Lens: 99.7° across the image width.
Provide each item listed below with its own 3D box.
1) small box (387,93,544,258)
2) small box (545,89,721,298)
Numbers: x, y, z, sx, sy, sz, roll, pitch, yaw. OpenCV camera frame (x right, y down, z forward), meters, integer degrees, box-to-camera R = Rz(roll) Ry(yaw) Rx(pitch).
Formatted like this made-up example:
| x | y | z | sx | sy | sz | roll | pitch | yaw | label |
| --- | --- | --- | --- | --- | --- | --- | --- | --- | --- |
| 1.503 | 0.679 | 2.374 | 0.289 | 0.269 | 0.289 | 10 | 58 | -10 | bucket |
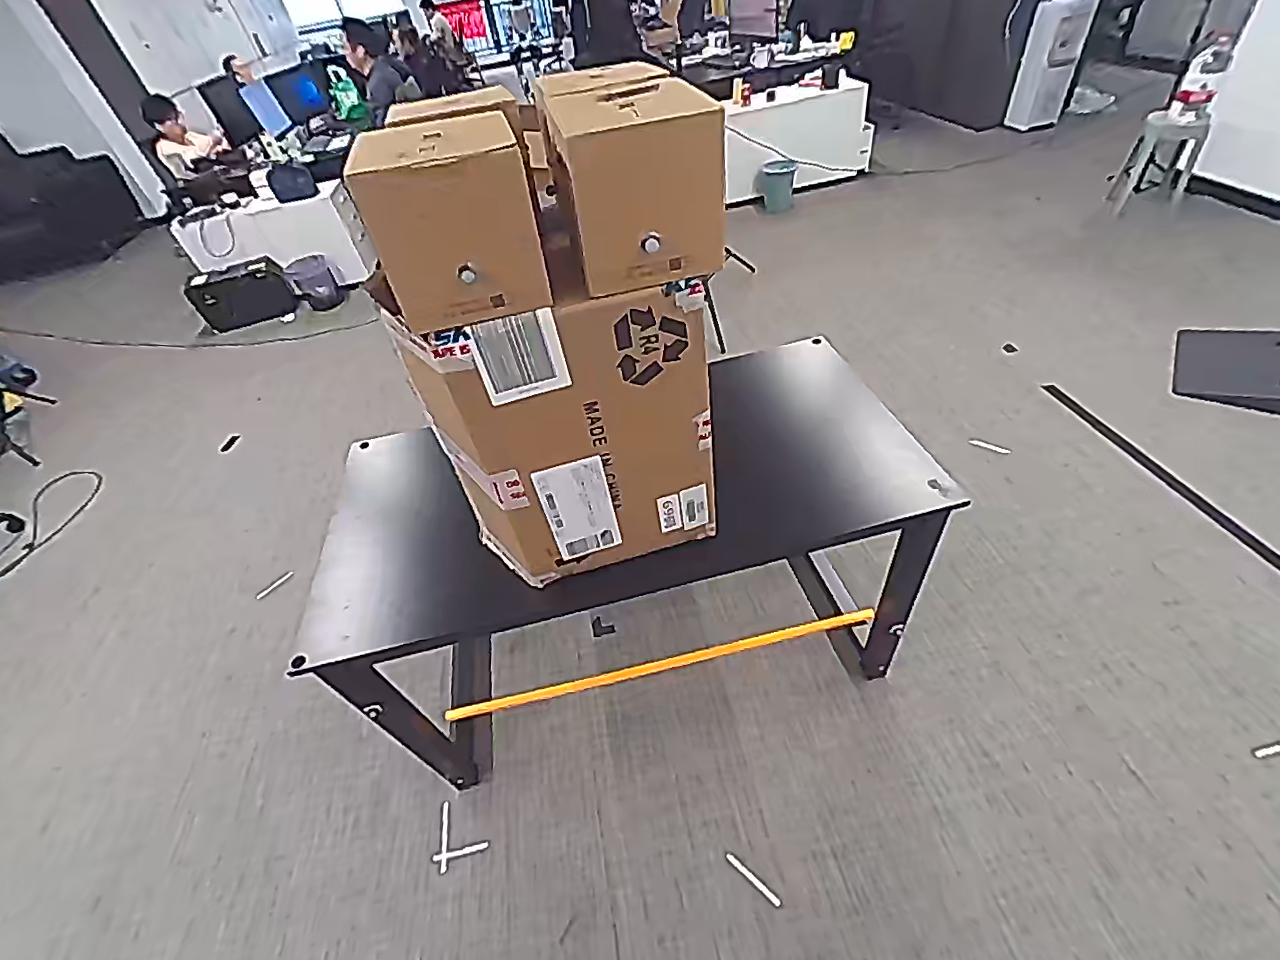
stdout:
| x | y | z | sx | sy | sz | roll | pitch | yaw | label |
| --- | --- | --- | --- | --- | --- | --- | --- | --- | --- |
| -0.249 | -0.445 | 0.792 | 0.168 | 0.176 | 0.179 | -17 | 43 | -8 | small box |
| -0.009 | -0.342 | 0.646 | 0.168 | 0.176 | 0.179 | -14 | 45 | -5 | small box |
